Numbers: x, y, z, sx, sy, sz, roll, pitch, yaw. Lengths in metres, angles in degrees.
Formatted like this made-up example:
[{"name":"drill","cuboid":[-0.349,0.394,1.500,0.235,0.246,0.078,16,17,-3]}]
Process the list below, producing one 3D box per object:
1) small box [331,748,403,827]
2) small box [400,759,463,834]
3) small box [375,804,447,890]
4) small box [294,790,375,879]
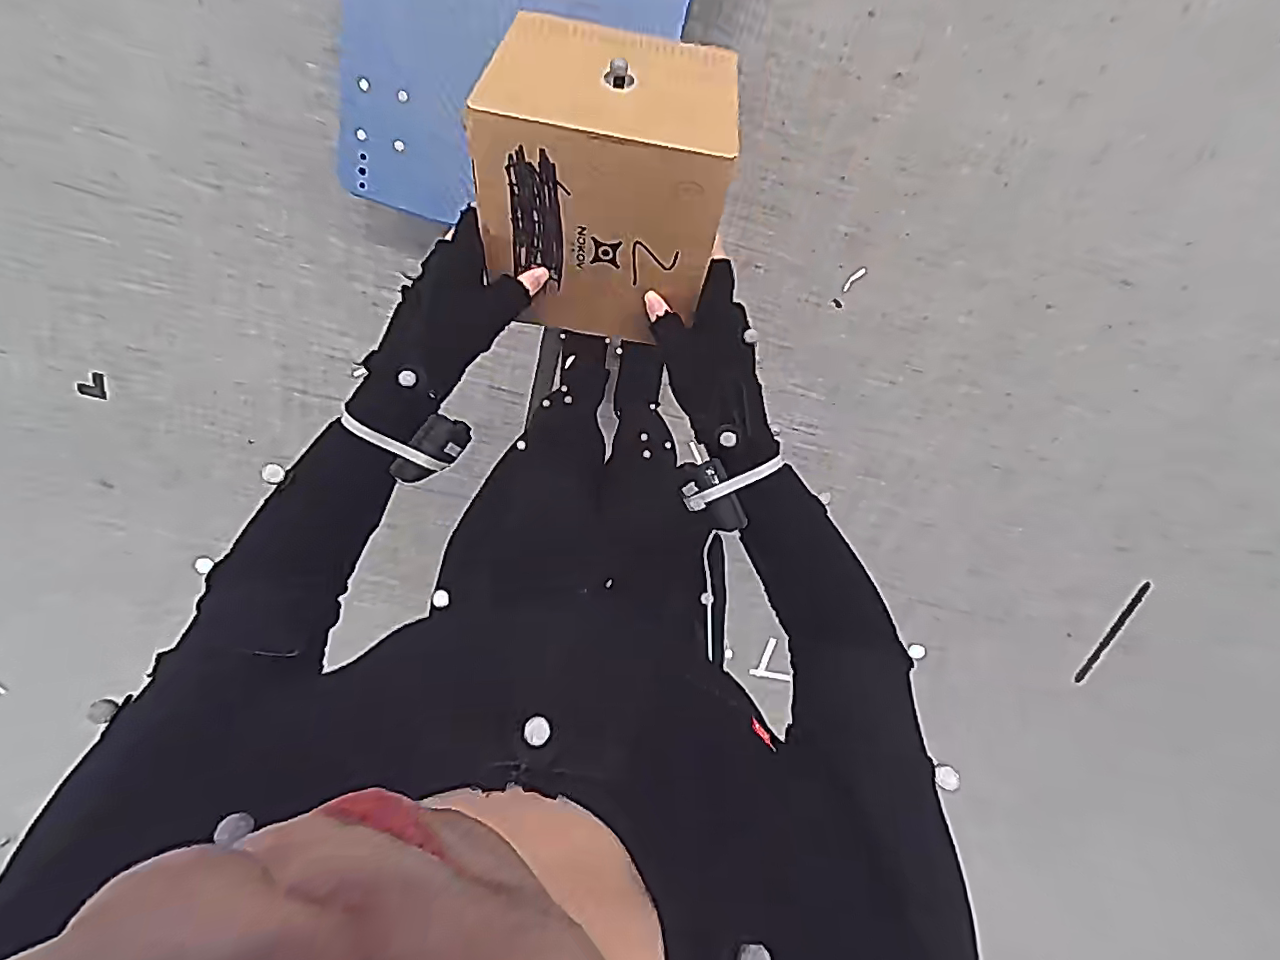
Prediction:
[{"name":"small box","cuboid":[-0.949,1.078,1.899,0.168,0.176,0.179,5,114,-1]},{"name":"small box","cuboid":[-0.738,1.123,1.917,0.168,0.176,0.179,10,115,-3]},{"name":"small box","cuboid":[-0.742,1.195,1.769,0.168,0.176,0.179,6,114,-1]},{"name":"small box","cuboid":[-0.979,1.145,1.750,0.168,0.176,0.179,6,113,-2]}]
